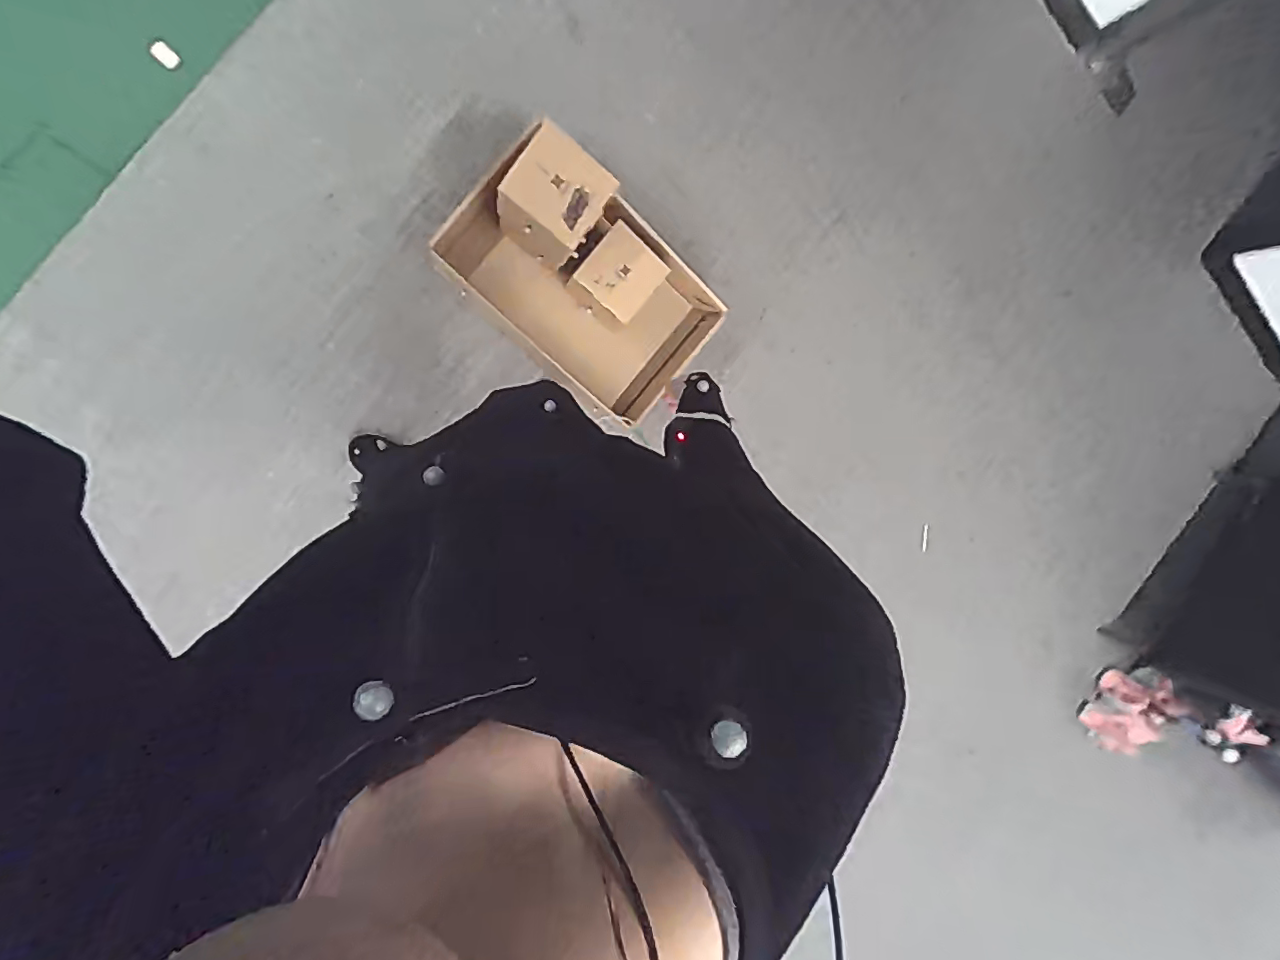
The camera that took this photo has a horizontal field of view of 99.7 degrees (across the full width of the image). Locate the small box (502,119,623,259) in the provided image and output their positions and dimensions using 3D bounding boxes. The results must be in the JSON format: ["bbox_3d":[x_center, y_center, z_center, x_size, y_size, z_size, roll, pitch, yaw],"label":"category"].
[{"bbox_3d":[-0.163,-0.578,1.109,0.179,0.176,0.168,37,90,-17],"label":"small box"}]

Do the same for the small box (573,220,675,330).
[{"bbox_3d":[-0.049,-0.491,1.325,0.168,0.176,0.179,41,89,-16],"label":"small box"}]
